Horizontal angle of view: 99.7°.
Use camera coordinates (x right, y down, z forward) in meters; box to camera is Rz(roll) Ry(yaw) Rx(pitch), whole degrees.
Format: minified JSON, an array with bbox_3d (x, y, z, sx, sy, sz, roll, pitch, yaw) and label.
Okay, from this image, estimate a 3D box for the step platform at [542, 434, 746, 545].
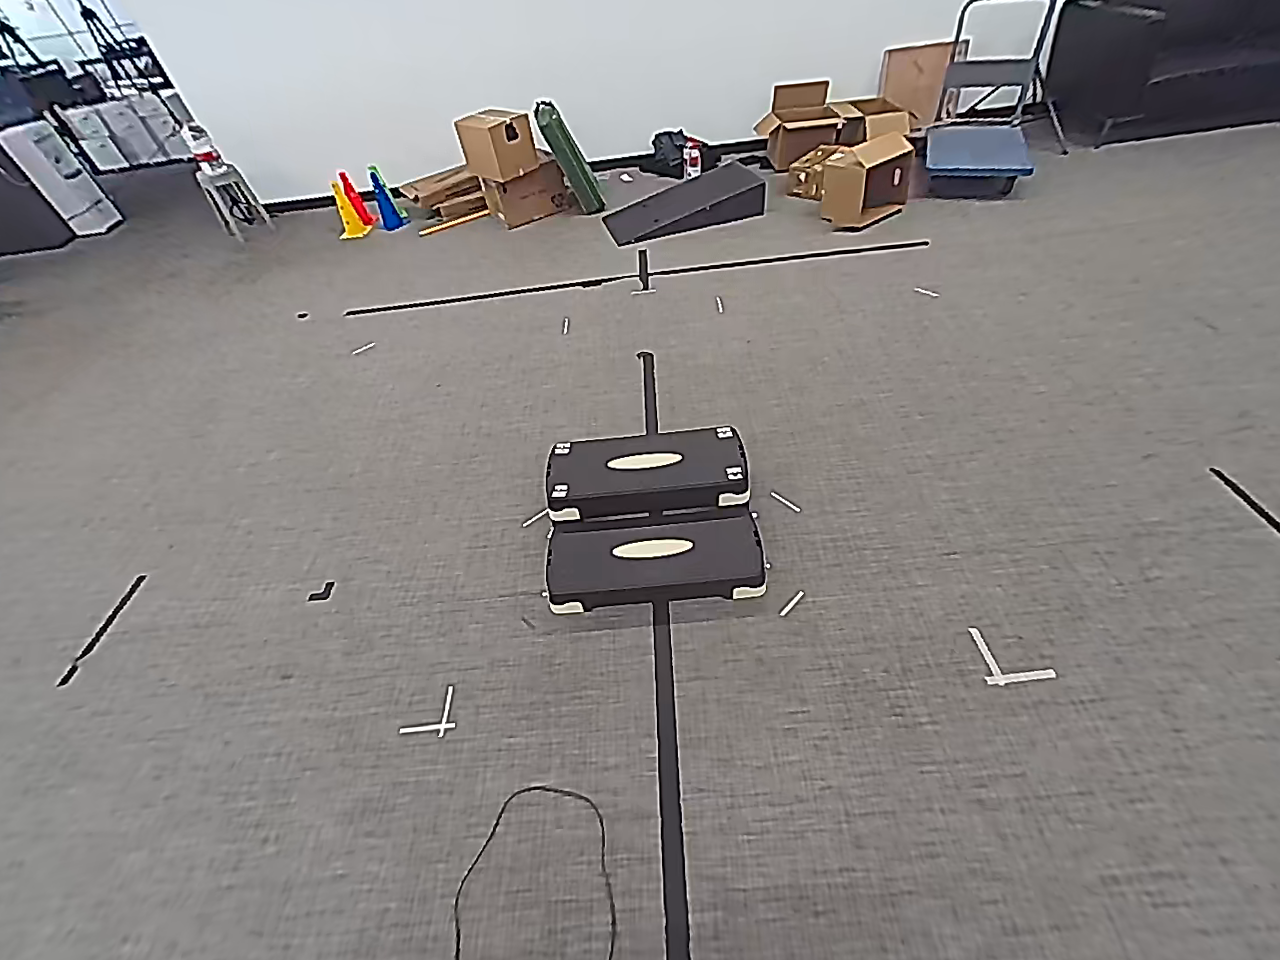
[{"bbox_3d":[0.012,0.026,1.844,0.684,0.204,0.286,-6,47,2],"label":"step platform"}]
